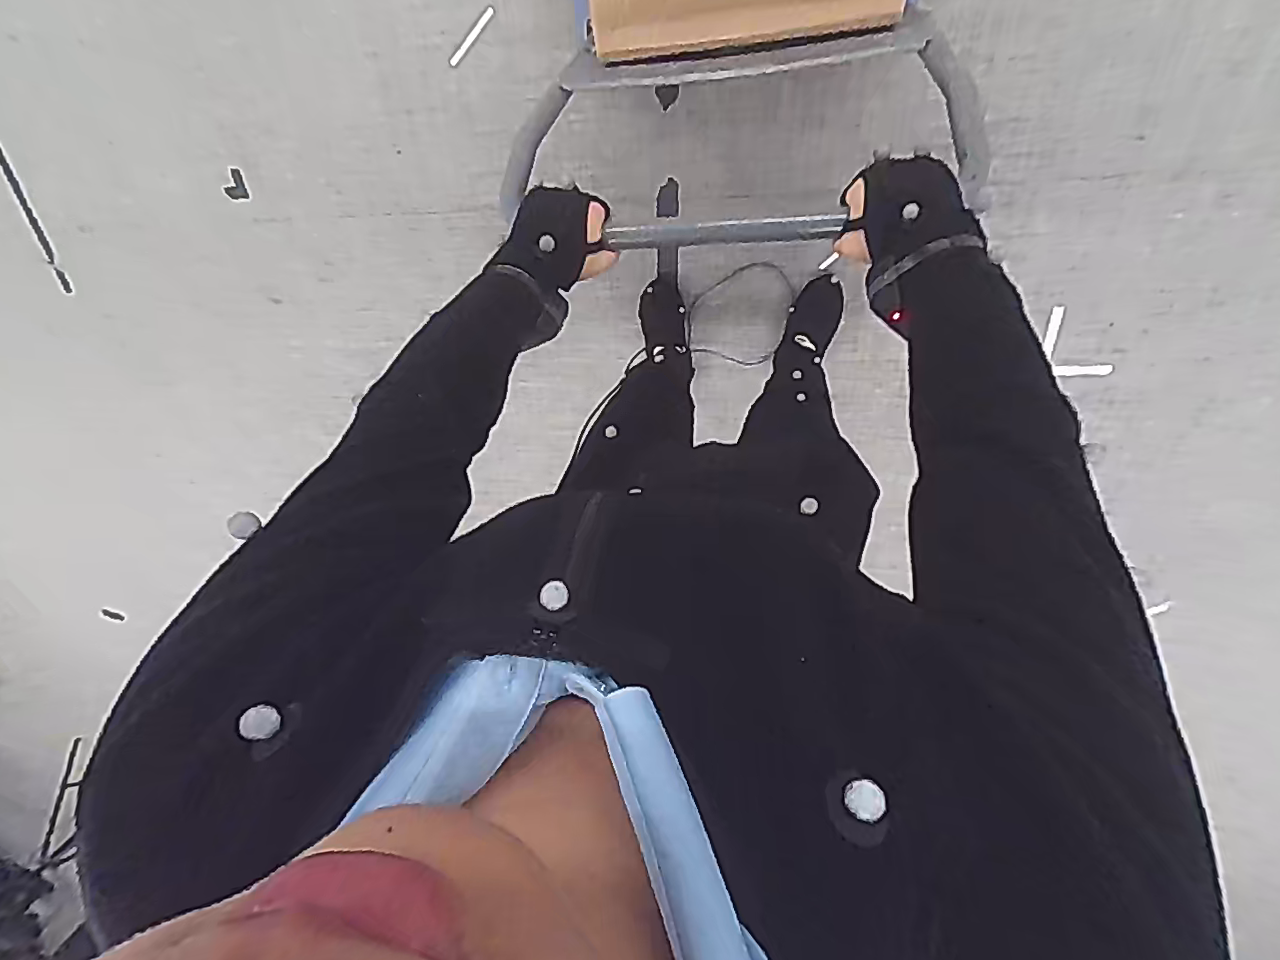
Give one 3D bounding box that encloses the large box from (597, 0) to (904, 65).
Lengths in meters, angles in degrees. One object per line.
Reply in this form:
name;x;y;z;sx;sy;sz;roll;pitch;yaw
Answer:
large box;0.141;-0.811;0.732;0.408;0.320;0.320;0;138;11
